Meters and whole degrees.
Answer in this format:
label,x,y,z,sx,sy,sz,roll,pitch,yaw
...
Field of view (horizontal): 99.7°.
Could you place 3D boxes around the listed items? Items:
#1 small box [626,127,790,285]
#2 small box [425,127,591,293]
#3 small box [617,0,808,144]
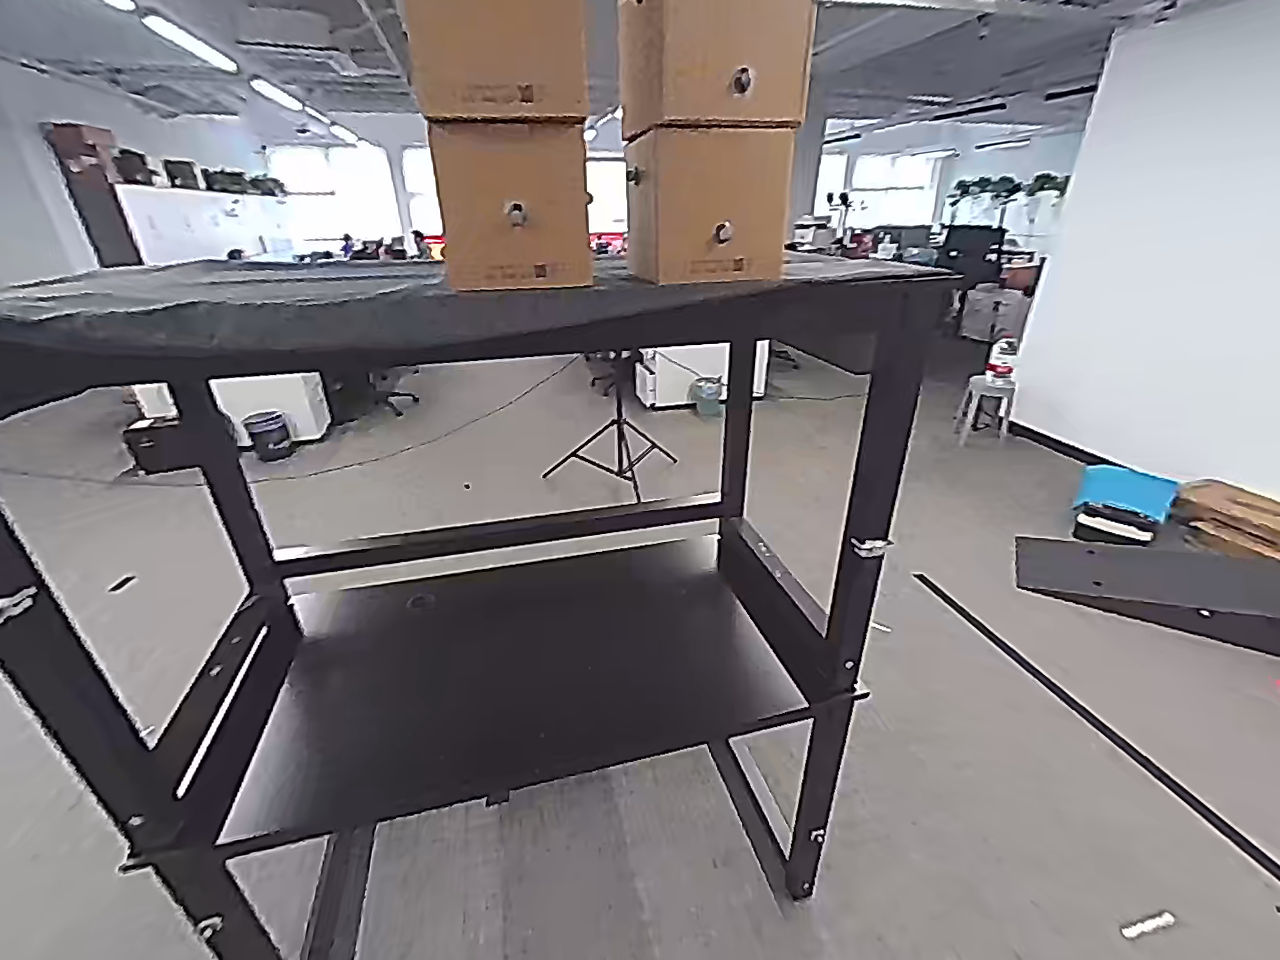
label,x,y,z,sx,sy,sz,roll,pitch,yaw
small box,0.078,-0.354,0.715,0.168,0.176,0.179,-8,26,-11
small box,-0.153,-0.326,0.670,0.168,0.176,0.179,-6,26,-10
small box,0.078,-0.500,0.633,0.179,0.176,0.168,-8,26,-16
